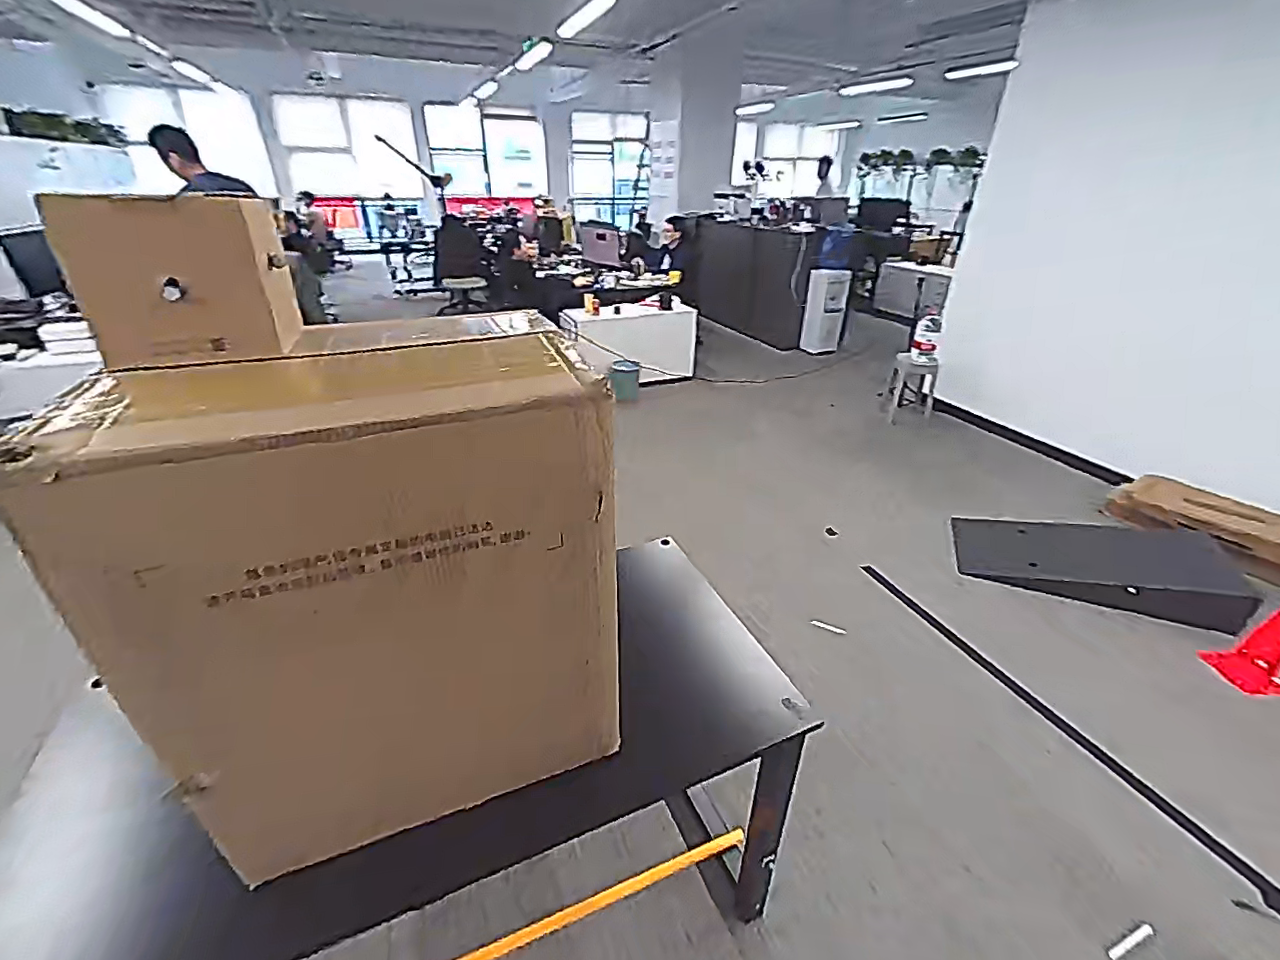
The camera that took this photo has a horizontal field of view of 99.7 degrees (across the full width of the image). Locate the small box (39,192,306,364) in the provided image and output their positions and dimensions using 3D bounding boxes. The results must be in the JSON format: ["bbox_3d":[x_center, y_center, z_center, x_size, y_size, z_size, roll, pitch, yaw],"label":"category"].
[{"bbox_3d":[-0.507,-0.235,0.625,0.168,0.176,0.179,-10,30,-21],"label":"small box"}]
